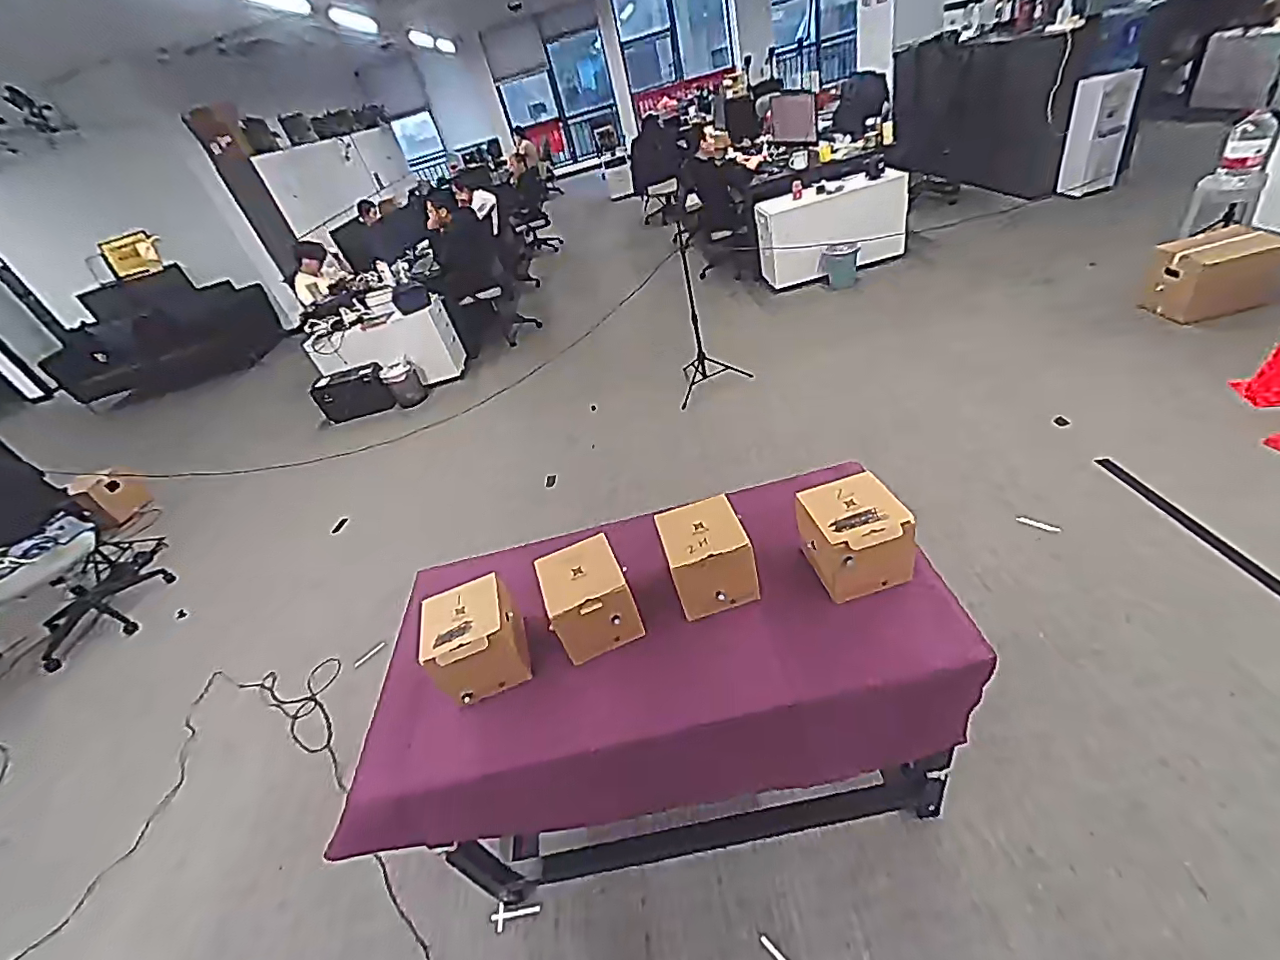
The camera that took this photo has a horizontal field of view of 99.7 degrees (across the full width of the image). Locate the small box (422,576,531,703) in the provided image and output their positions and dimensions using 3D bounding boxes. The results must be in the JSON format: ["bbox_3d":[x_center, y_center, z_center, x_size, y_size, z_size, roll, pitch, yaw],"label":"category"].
[{"bbox_3d":[-0.343,0.344,1.147,0.168,0.176,0.179,-21,36,-6],"label":"small box"}]

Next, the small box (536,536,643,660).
[{"bbox_3d":[-0.107,0.260,1.165,0.168,0.176,0.179,-22,36,-7],"label":"small box"}]

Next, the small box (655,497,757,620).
[{"bbox_3d":[0.143,0.171,1.176,0.168,0.176,0.179,-18,36,0],"label":"small box"}]
